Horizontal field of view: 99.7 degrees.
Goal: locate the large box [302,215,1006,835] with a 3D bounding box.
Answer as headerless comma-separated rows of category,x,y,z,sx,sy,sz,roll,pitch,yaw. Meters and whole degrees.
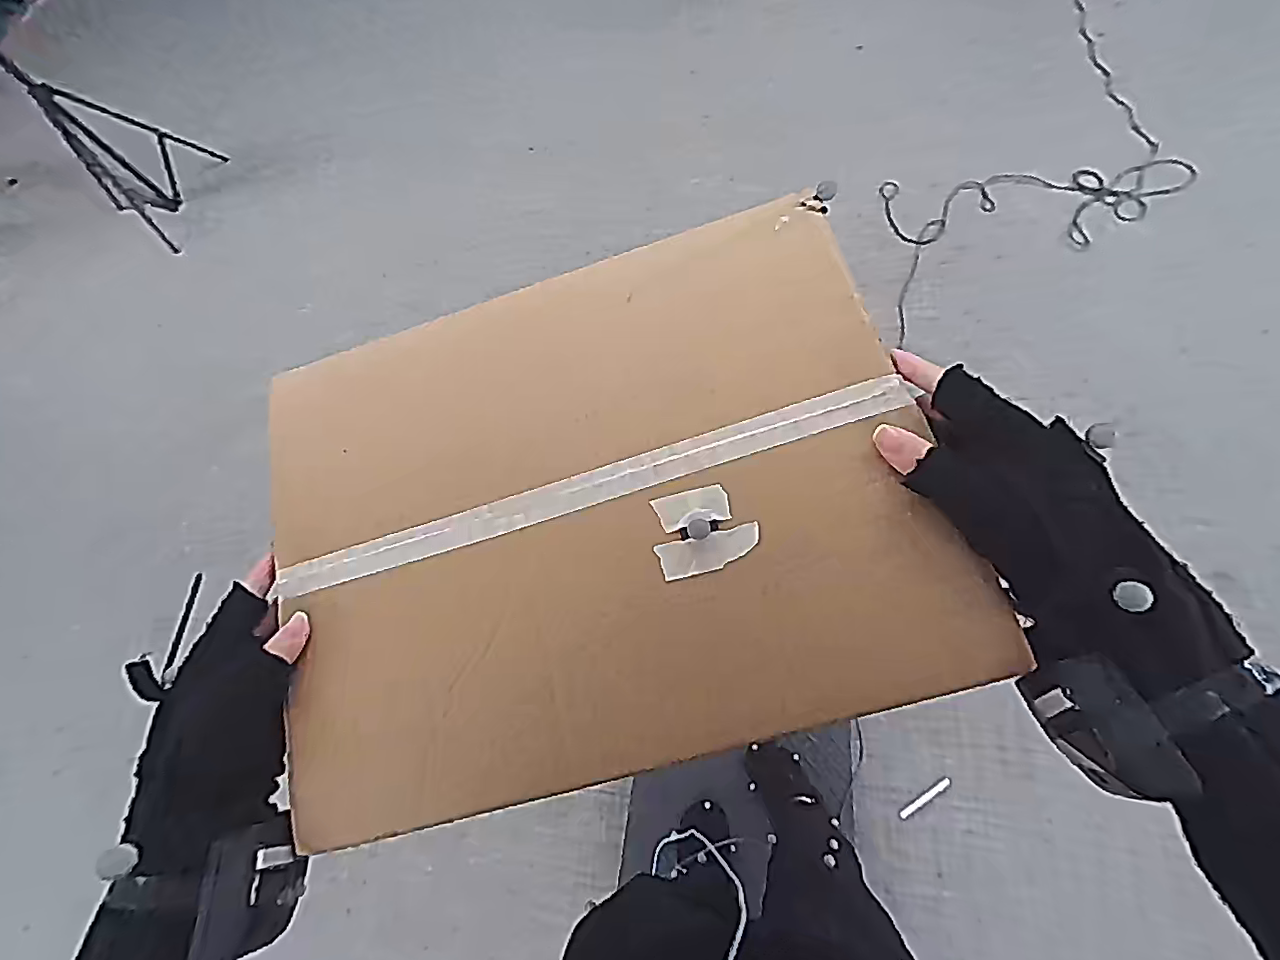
large box,-0.008,0.053,0.486,0.408,0.320,0.320,-17,72,5
